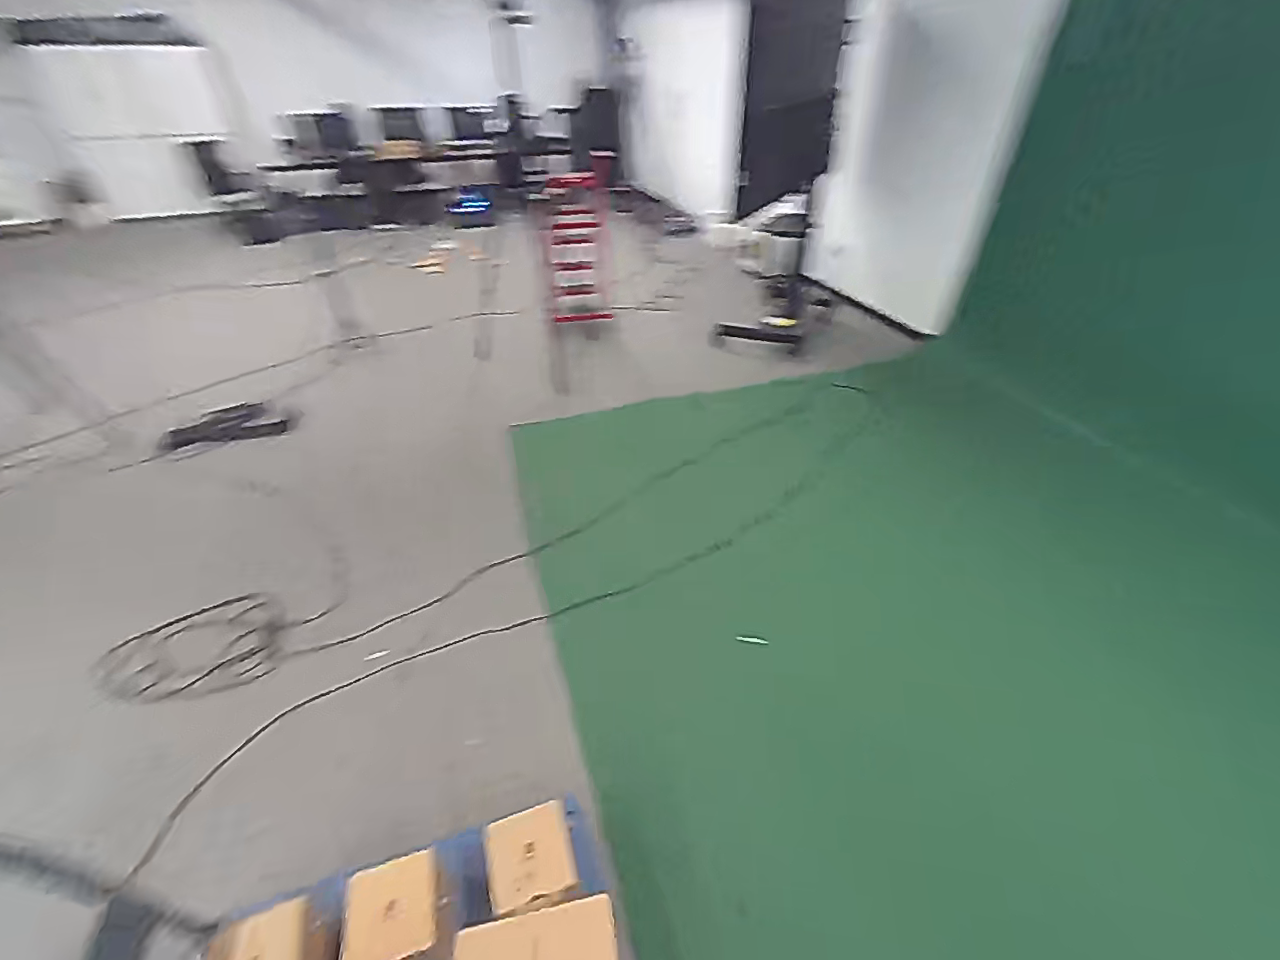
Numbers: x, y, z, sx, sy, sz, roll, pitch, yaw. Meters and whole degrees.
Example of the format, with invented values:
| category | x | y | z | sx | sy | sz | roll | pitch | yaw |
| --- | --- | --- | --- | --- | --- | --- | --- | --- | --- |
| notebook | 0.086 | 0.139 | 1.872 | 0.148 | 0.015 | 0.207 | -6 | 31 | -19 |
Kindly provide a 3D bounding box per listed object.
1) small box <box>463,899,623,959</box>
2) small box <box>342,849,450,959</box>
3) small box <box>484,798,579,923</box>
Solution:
| category | x | y | z | sx | sy | sz | roll | pitch | yaw |
| --- | --- | --- | --- | --- | --- | --- | --- | --- | --- |
| small box | -0.092 | 0.594 | 0.571 | 0.168 | 0.176 | 0.179 | -8 | 33 | -8 |
| small box | -0.502 | 0.921 | 1.129 | 0.168 | 0.176 | 0.179 | -12 | 41 | -14 |
| small box | -0.240 | 0.855 | 1.201 | 0.168 | 0.176 | 0.179 | -14 | 40 | -14 |
